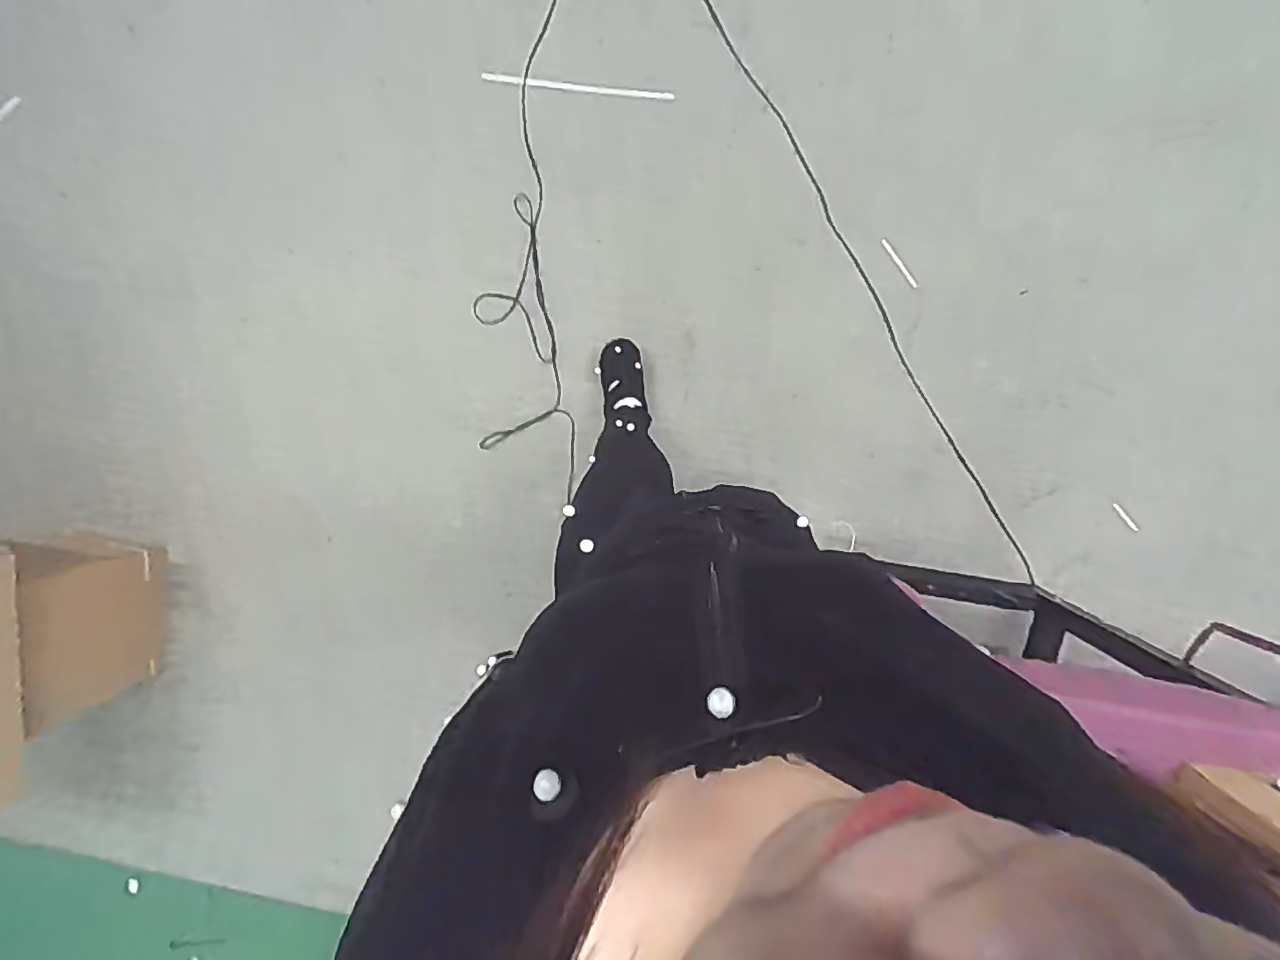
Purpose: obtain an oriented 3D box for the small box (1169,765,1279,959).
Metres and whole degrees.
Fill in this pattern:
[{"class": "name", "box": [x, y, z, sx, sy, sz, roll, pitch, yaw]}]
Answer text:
[{"class": "small box", "box": [0.821, 0.483, 0.664, 0.179, 0.176, 0.168, 5, 100, 5]}]
